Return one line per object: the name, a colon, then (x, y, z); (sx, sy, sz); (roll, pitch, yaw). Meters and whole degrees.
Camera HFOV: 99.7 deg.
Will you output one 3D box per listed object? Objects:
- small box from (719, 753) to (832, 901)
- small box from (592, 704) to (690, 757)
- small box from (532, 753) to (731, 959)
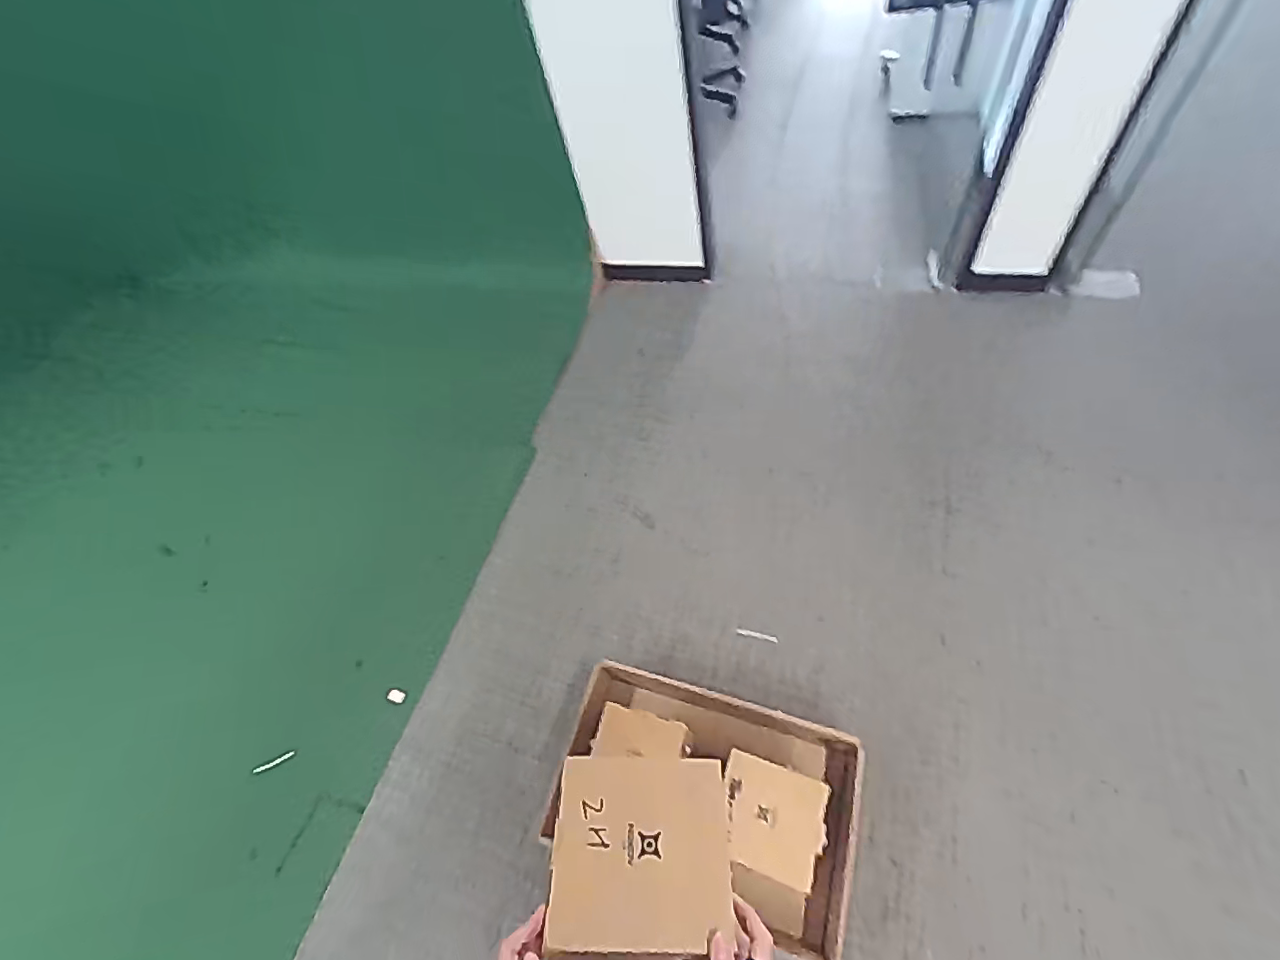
small box: (0.235, 0.621, 0.983); (0.179, 0.176, 0.168); (13, 62, 21)
small box: (0.000, 0.571, 1.074); (0.168, 0.176, 0.179); (10, 60, 16)
small box: (-0.007, 0.414, 0.580); (0.179, 0.176, 0.168); (1, 41, 0)
